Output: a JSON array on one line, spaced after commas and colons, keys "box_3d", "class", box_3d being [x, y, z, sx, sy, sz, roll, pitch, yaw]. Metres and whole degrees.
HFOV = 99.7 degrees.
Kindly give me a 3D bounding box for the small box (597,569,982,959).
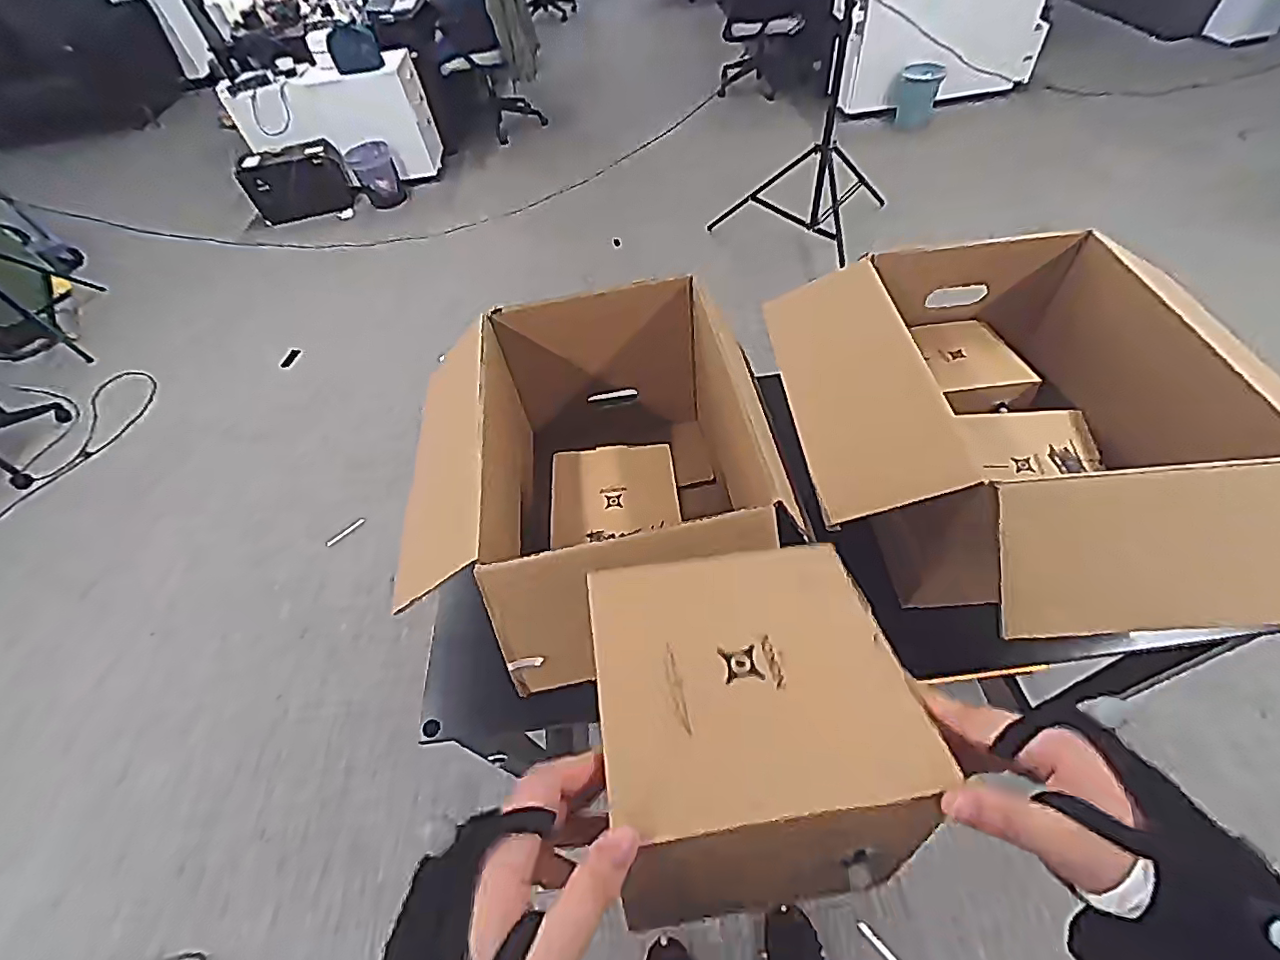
[{"box_3d": [0.070, 0.185, 0.359, 0.179, 0.176, 0.168, -8, 41, -5], "class": "small box"}]
